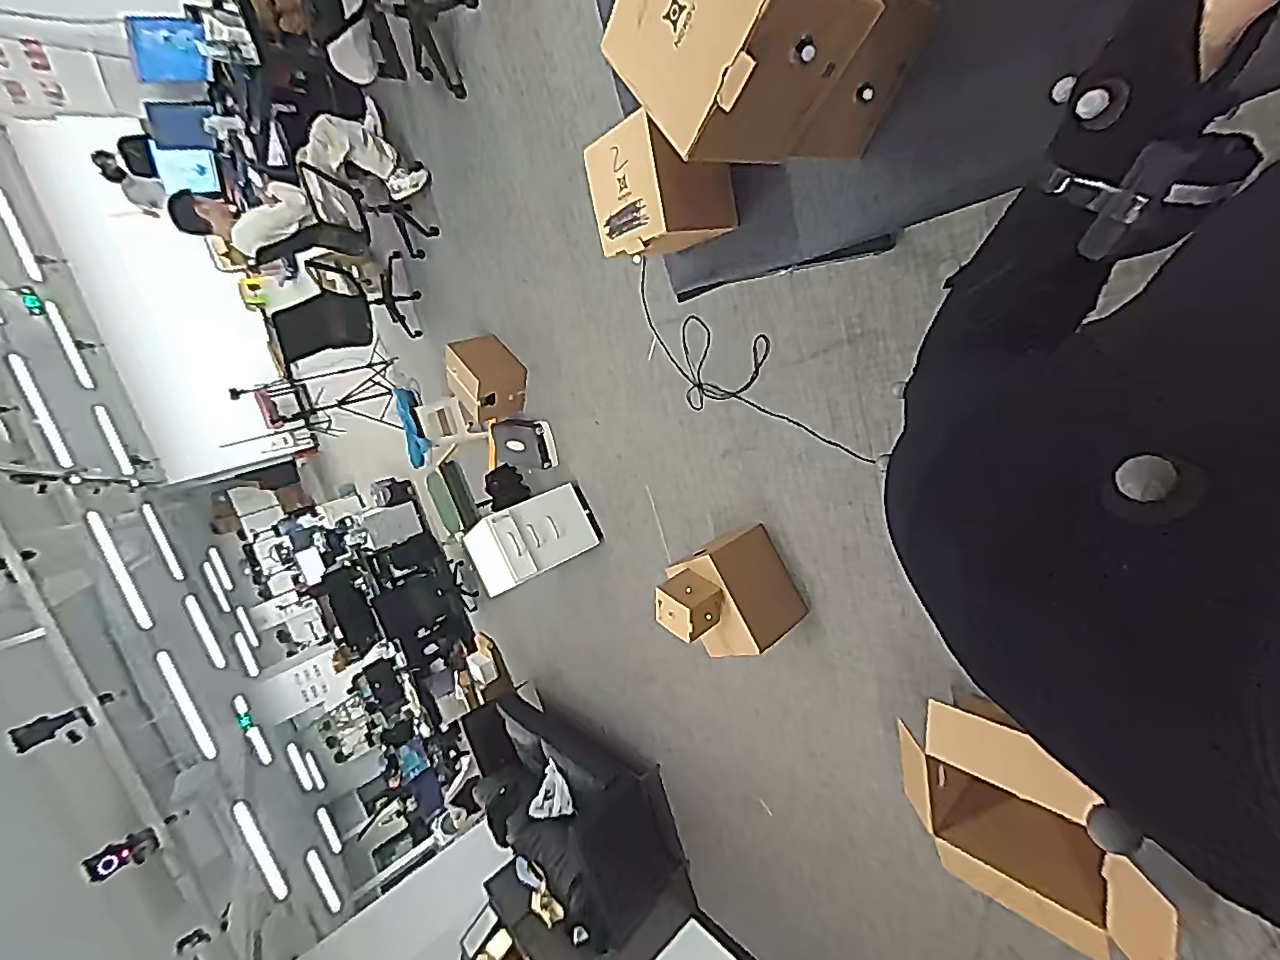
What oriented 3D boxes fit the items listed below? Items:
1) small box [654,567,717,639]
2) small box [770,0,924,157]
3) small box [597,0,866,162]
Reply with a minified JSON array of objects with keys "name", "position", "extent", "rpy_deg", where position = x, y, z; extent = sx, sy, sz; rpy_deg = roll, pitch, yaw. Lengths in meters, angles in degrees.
[{"name":"small box","position":[0.170,0.451,2.016],"extent":[0.179,0.176,0.168],"rpy_deg":[25,128,40]},{"name":"small box","position":[0.200,-0.521,0.658],"extent":[0.179,0.176,0.168],"rpy_deg":[50,141,22]},{"name":"small box","position":[0.090,-0.460,0.553],"extent":[0.179,0.176,0.168],"rpy_deg":[58,143,13]}]
